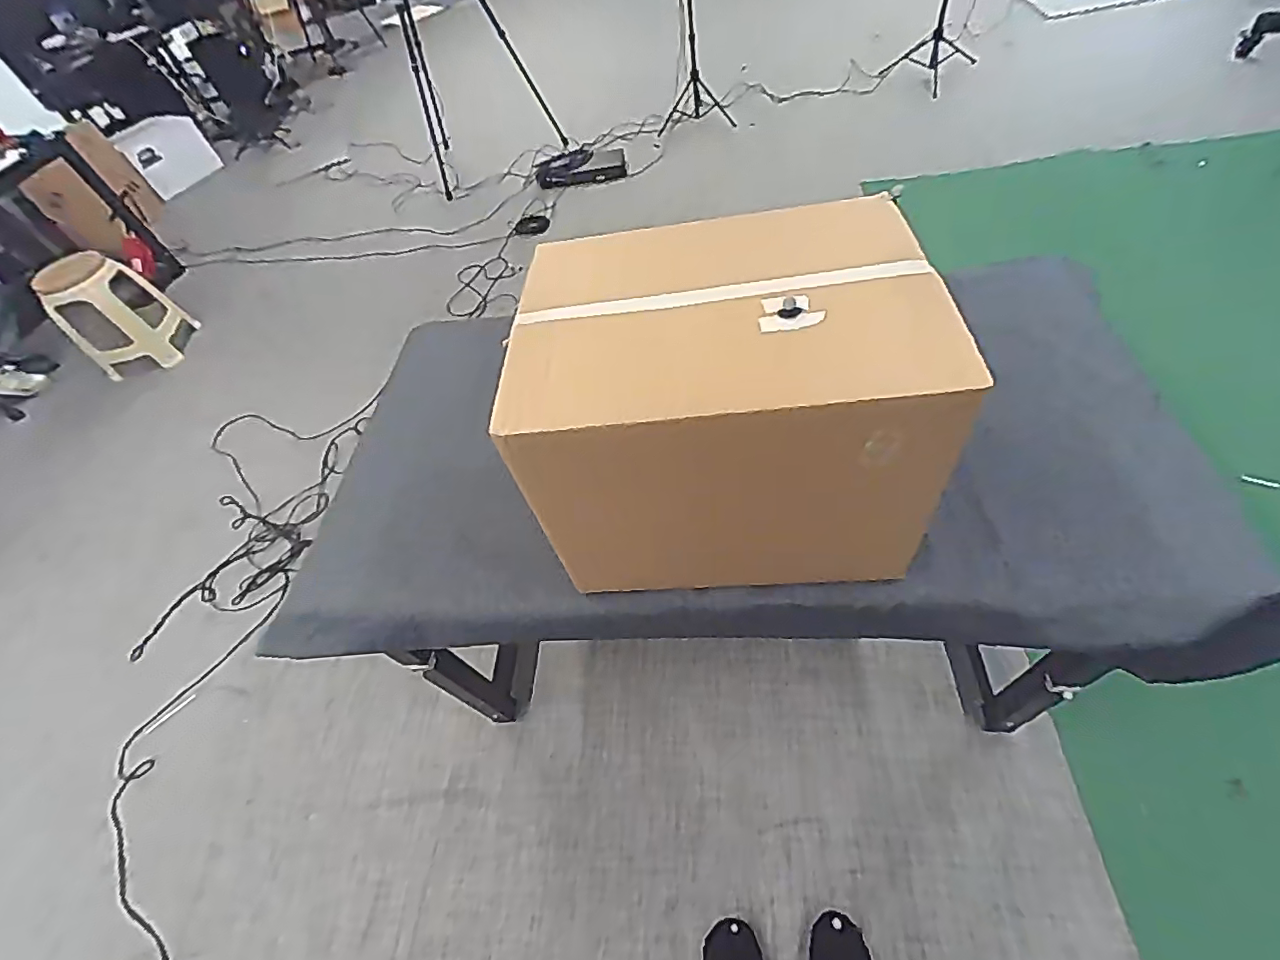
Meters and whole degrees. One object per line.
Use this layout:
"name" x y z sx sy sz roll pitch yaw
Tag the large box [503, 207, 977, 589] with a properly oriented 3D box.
"large box" 0.096 -0.083 0.657 0.408 0.320 0.320 -4 52 8
